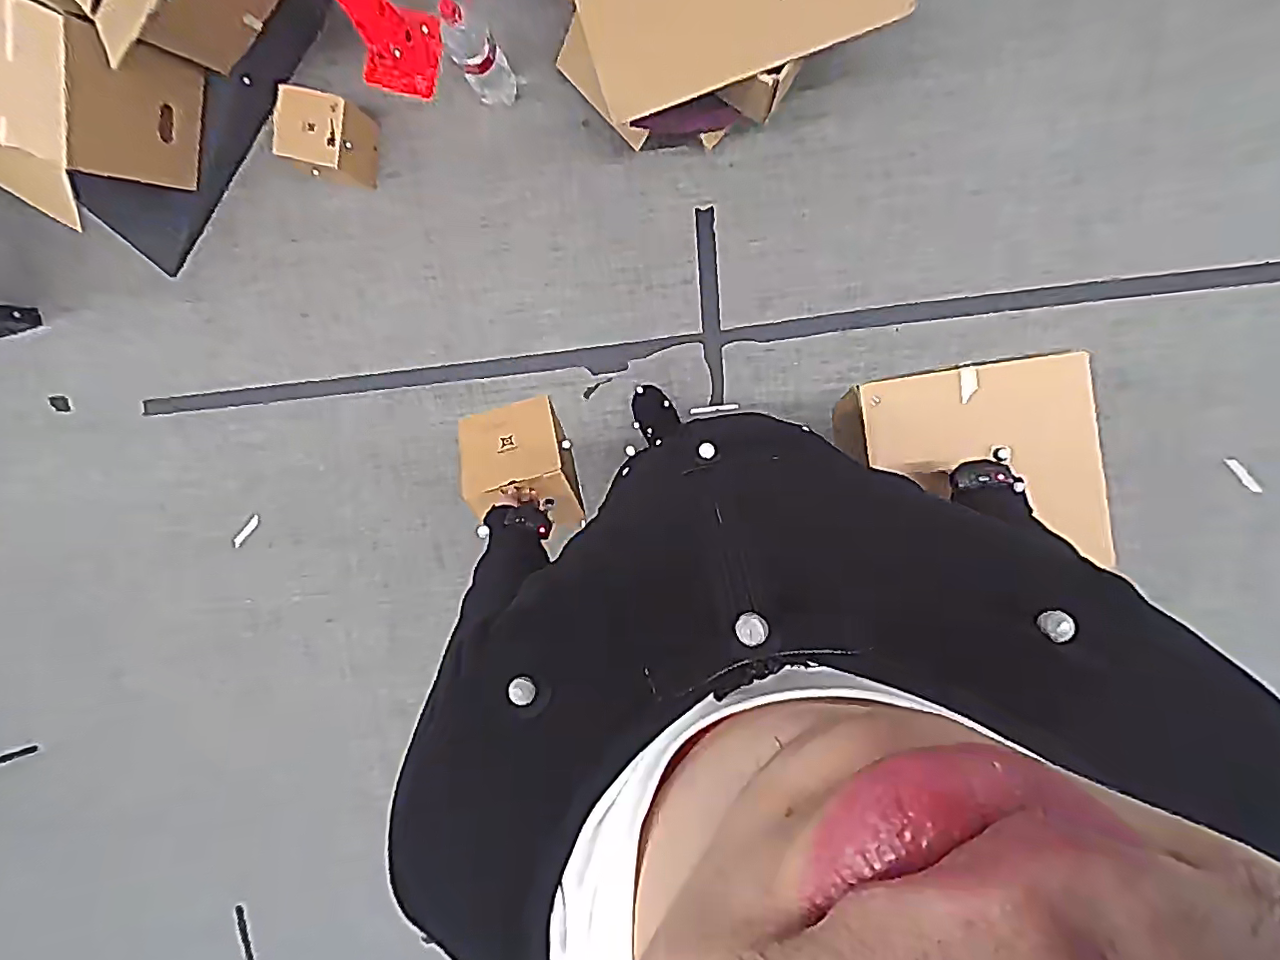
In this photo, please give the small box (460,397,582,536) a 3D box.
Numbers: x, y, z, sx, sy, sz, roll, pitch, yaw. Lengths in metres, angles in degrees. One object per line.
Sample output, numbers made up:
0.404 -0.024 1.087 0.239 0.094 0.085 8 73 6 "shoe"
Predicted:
-0.212 -0.015 0.983 0.168 0.176 0.179 -16 55 -1 "small box"
